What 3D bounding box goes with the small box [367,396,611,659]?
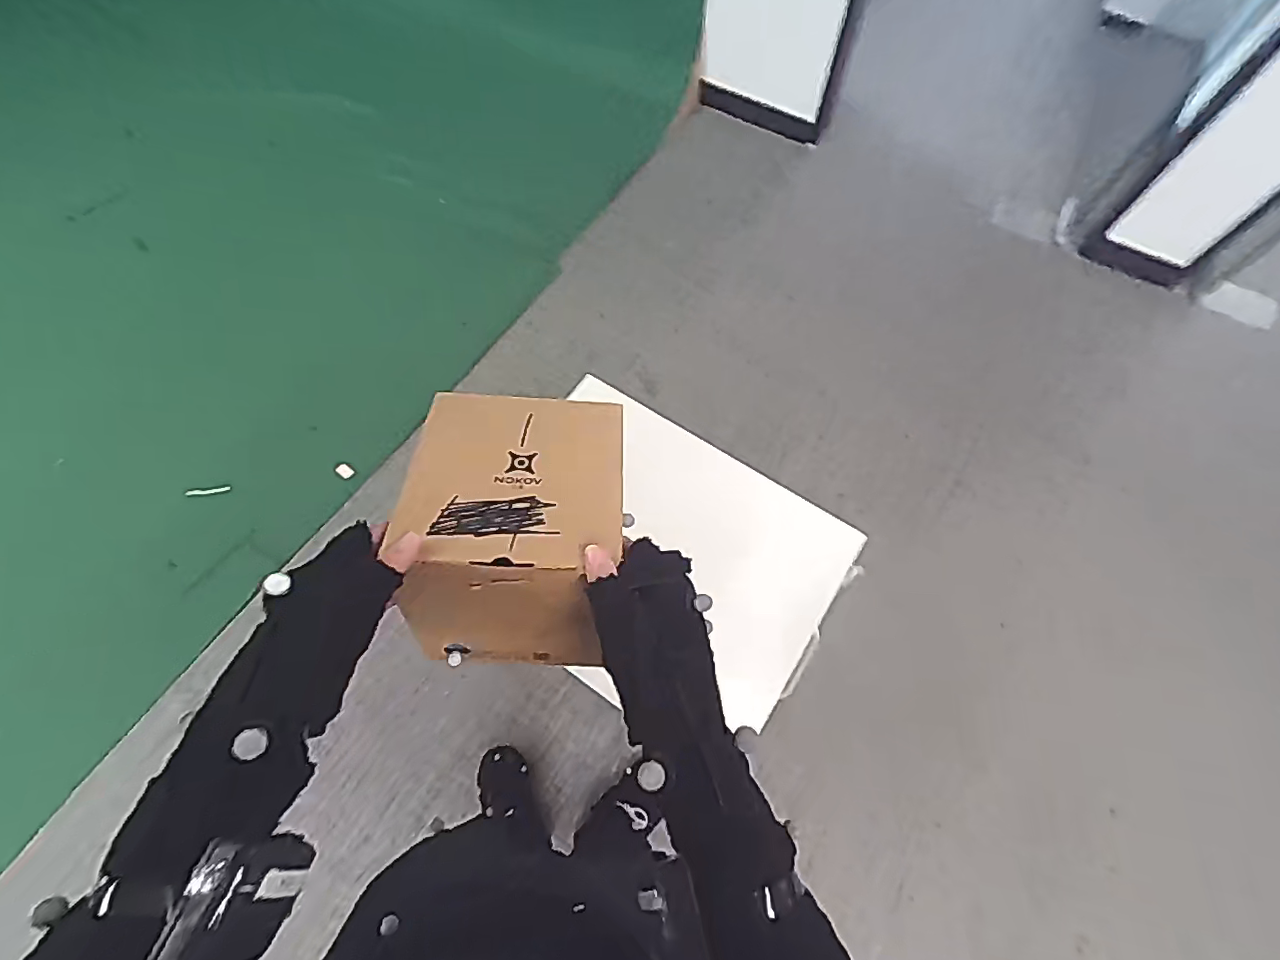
[{"bbox_3d":[-0.111,0.047,0.484,0.168,0.176,0.179,2,47,-4],"label":"small box"}]
